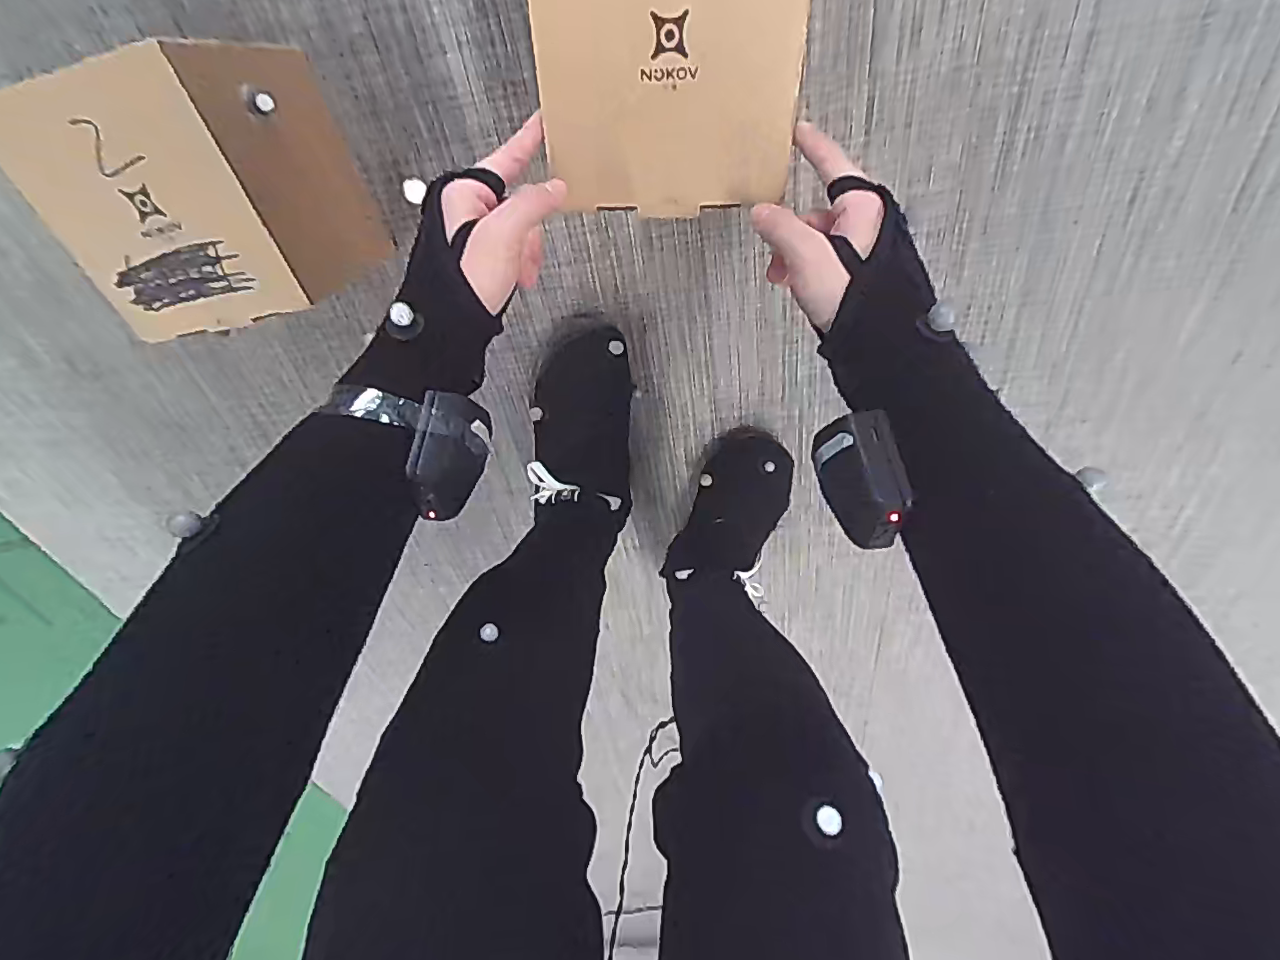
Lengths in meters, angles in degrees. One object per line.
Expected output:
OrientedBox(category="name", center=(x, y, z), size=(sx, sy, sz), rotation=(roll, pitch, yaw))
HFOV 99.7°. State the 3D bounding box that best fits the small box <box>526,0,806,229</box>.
OrientedBox(category="small box", center=(0.019, -0.301, 0.398), size=(0.168, 0.176, 0.179), rotation=(-1, 128, 3))
